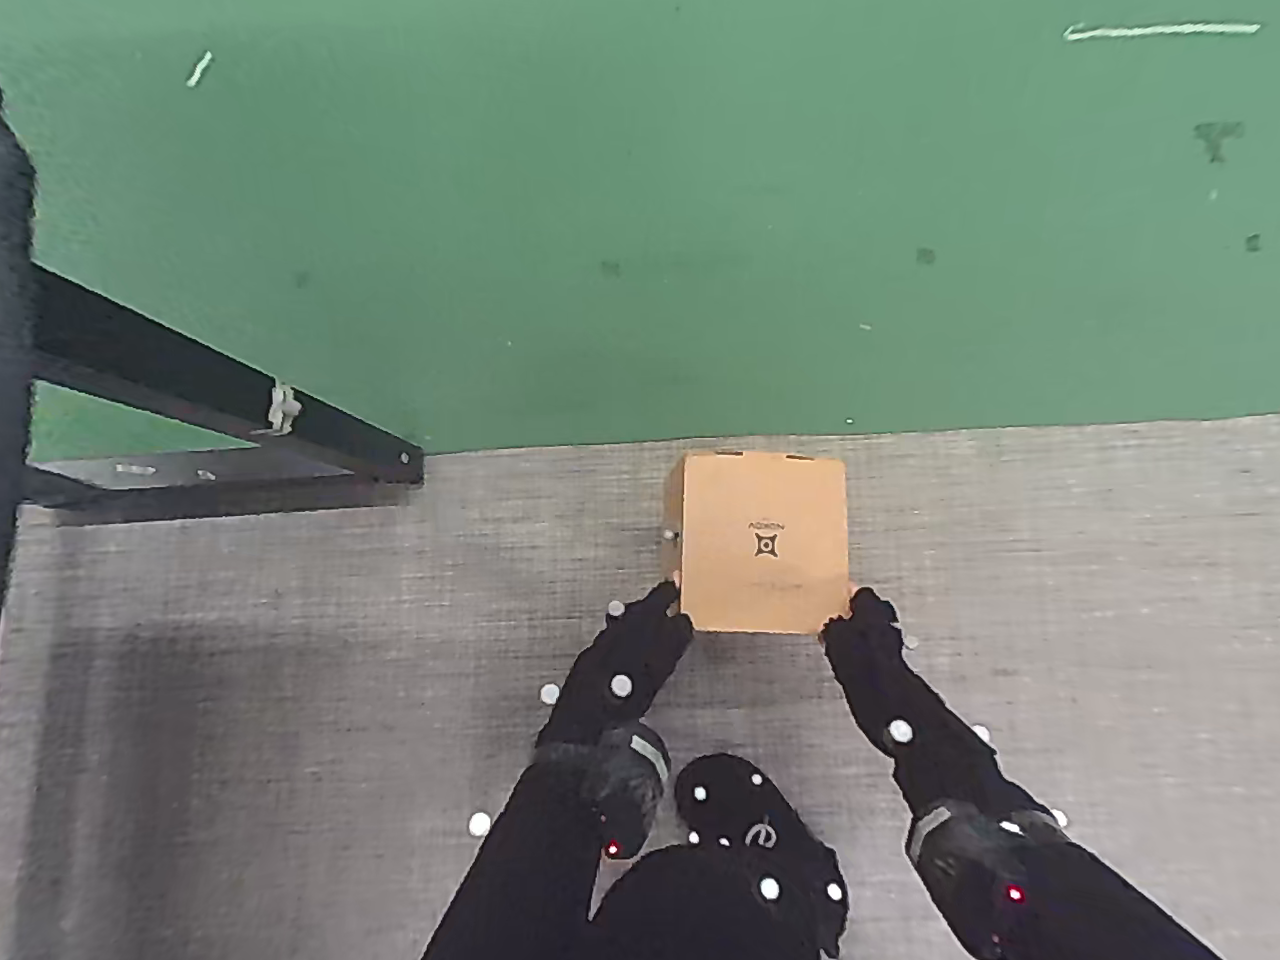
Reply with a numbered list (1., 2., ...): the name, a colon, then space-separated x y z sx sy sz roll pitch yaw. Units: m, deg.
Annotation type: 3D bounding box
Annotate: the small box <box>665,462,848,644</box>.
1. small box: 0.119 0.086 0.613 0.168 0.176 0.179 2 79 -3
